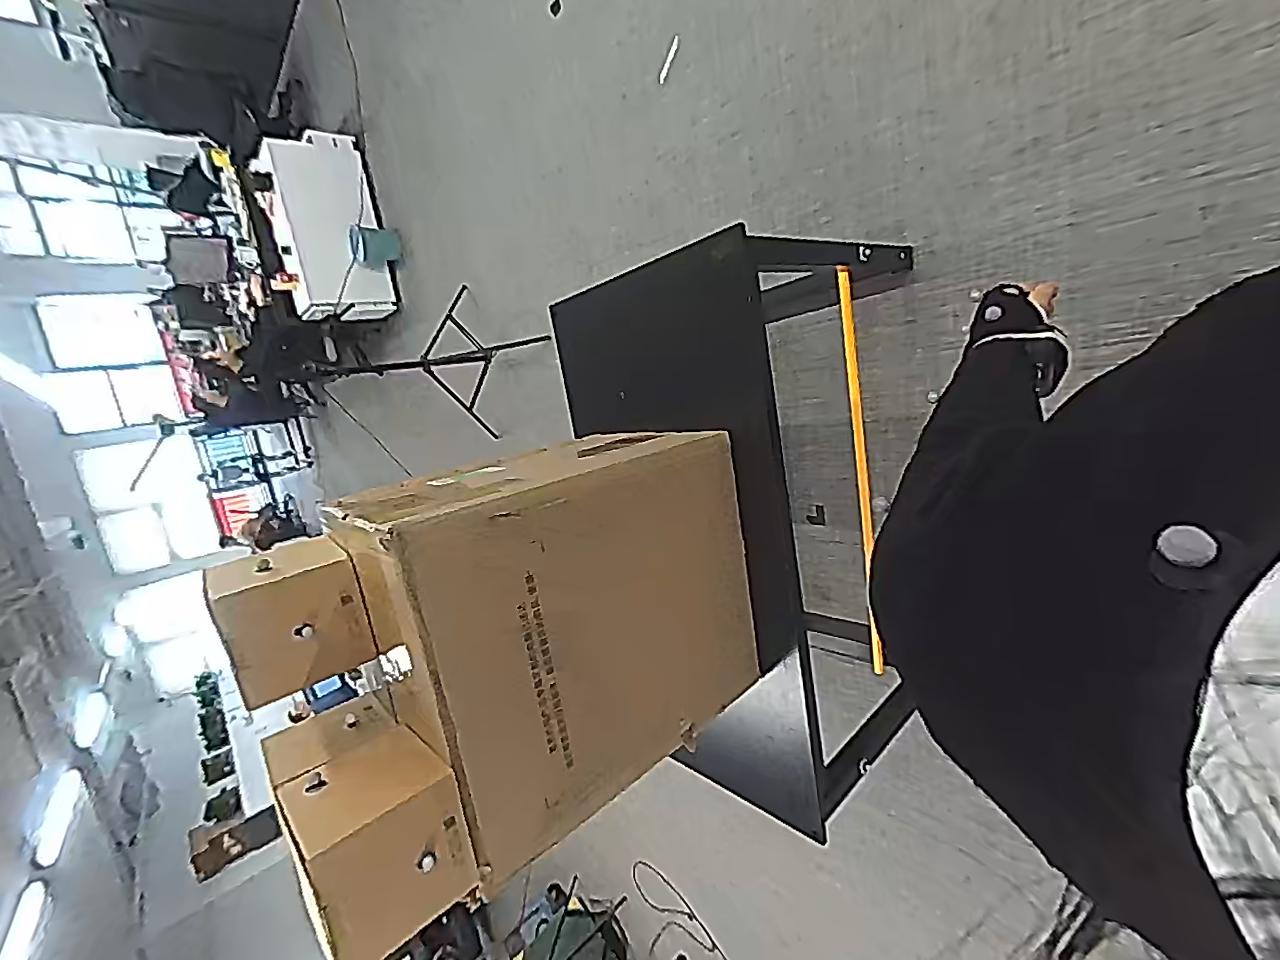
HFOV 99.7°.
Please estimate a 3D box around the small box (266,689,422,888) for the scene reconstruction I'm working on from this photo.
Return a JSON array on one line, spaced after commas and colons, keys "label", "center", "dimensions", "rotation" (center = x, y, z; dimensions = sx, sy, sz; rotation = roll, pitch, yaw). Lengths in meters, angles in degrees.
[{"label": "small box", "center": [-0.459, 0.465, 0.847], "dimensions": [0.168, 0.176, 0.179], "rotation": [3, 105, 50]}]
